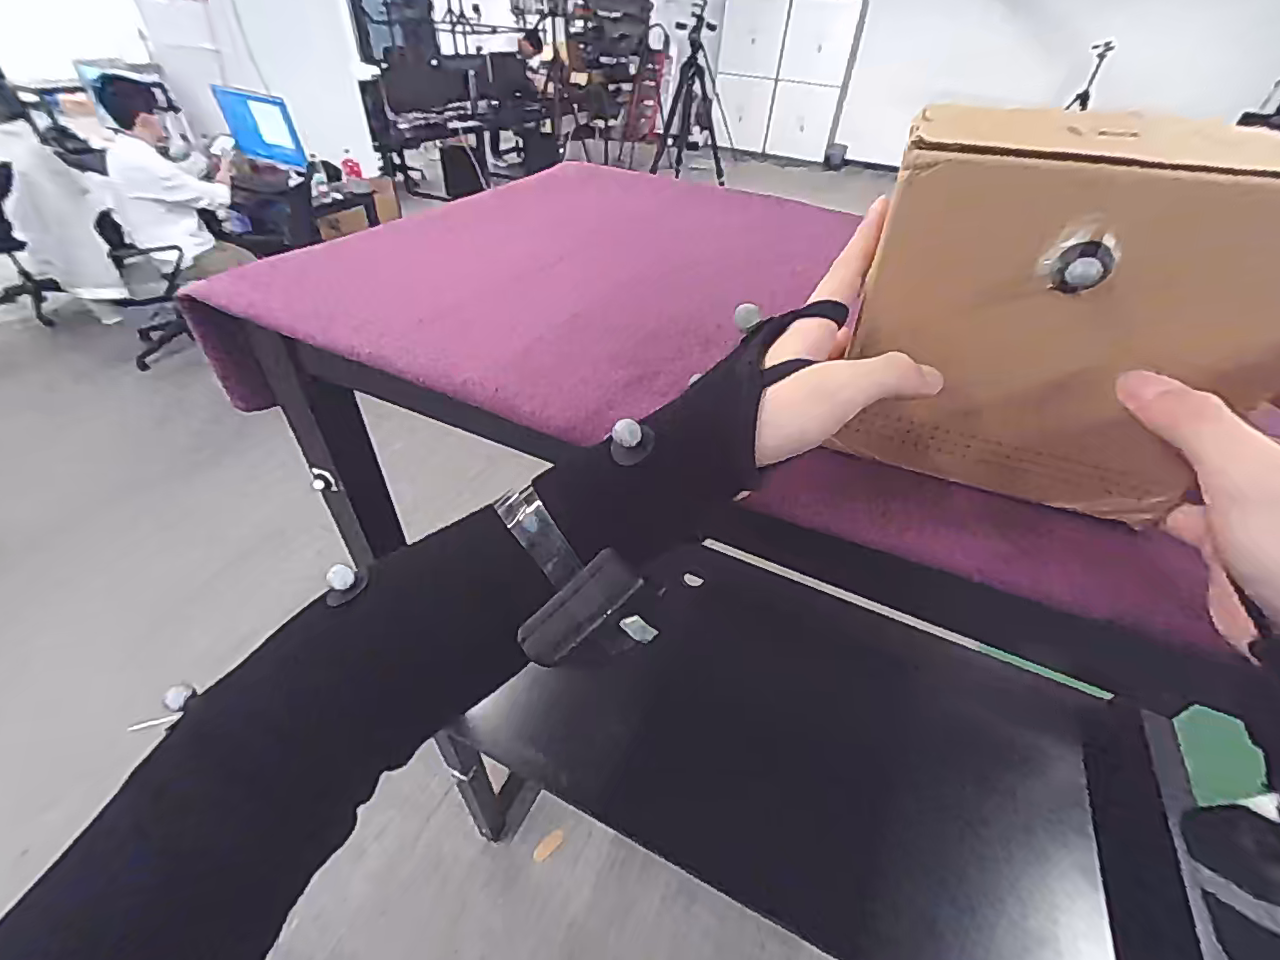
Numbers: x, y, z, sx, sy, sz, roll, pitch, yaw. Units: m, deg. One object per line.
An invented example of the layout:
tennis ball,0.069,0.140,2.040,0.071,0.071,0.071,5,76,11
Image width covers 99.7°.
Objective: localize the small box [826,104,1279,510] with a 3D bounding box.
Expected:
small box,0.224,-0.107,0.317,0.179,0.176,0.168,18,43,17
